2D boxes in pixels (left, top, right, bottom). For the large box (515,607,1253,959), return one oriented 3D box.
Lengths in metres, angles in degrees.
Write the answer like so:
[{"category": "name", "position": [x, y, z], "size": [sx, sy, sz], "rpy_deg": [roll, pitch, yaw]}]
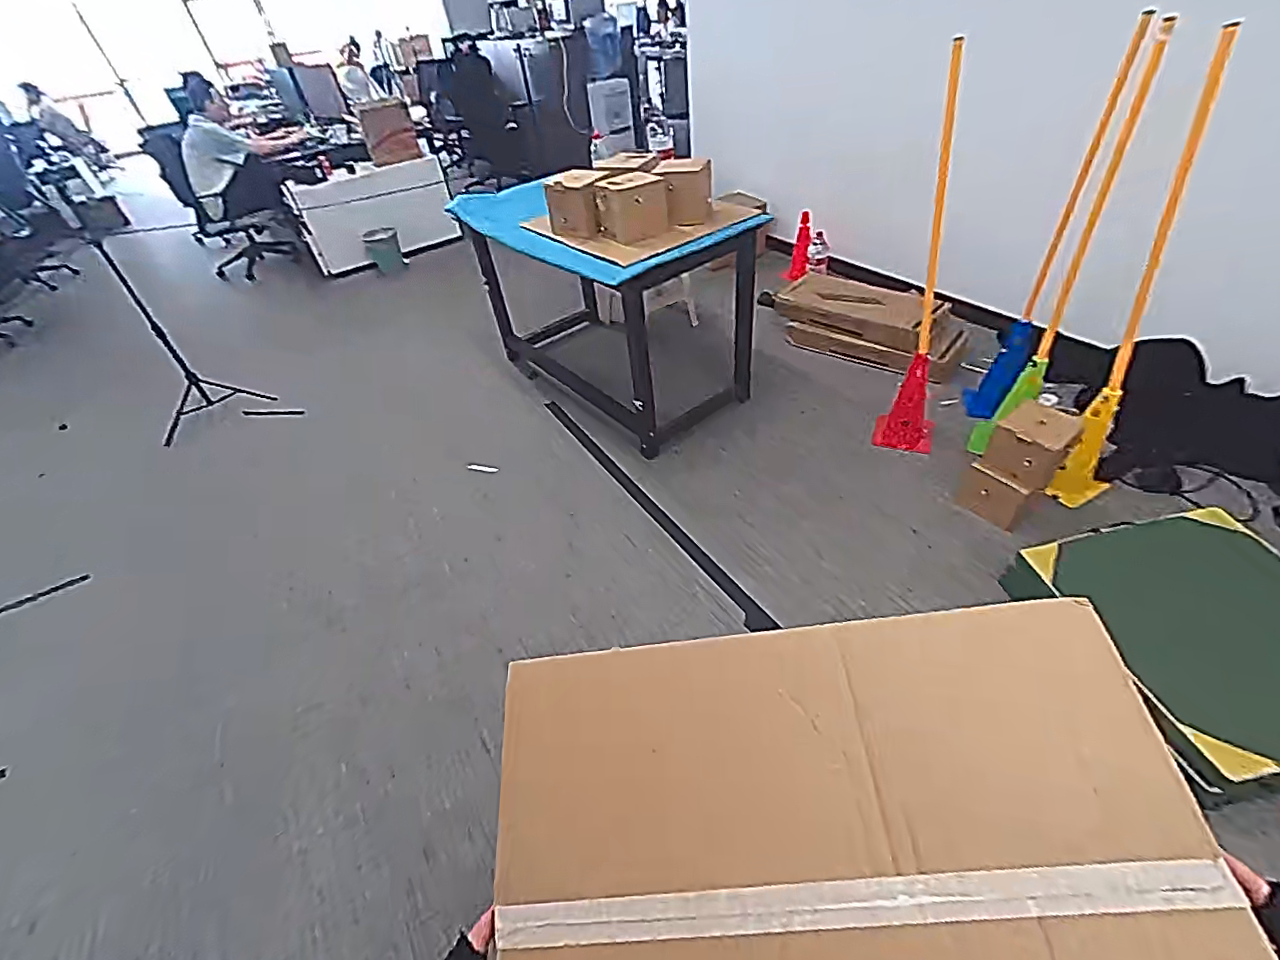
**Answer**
[{"category": "large box", "position": [0.142, 0.325, 0.441], "size": [0.408, 0.320, 0.320], "rpy_deg": [-9, 59, 7]}]
